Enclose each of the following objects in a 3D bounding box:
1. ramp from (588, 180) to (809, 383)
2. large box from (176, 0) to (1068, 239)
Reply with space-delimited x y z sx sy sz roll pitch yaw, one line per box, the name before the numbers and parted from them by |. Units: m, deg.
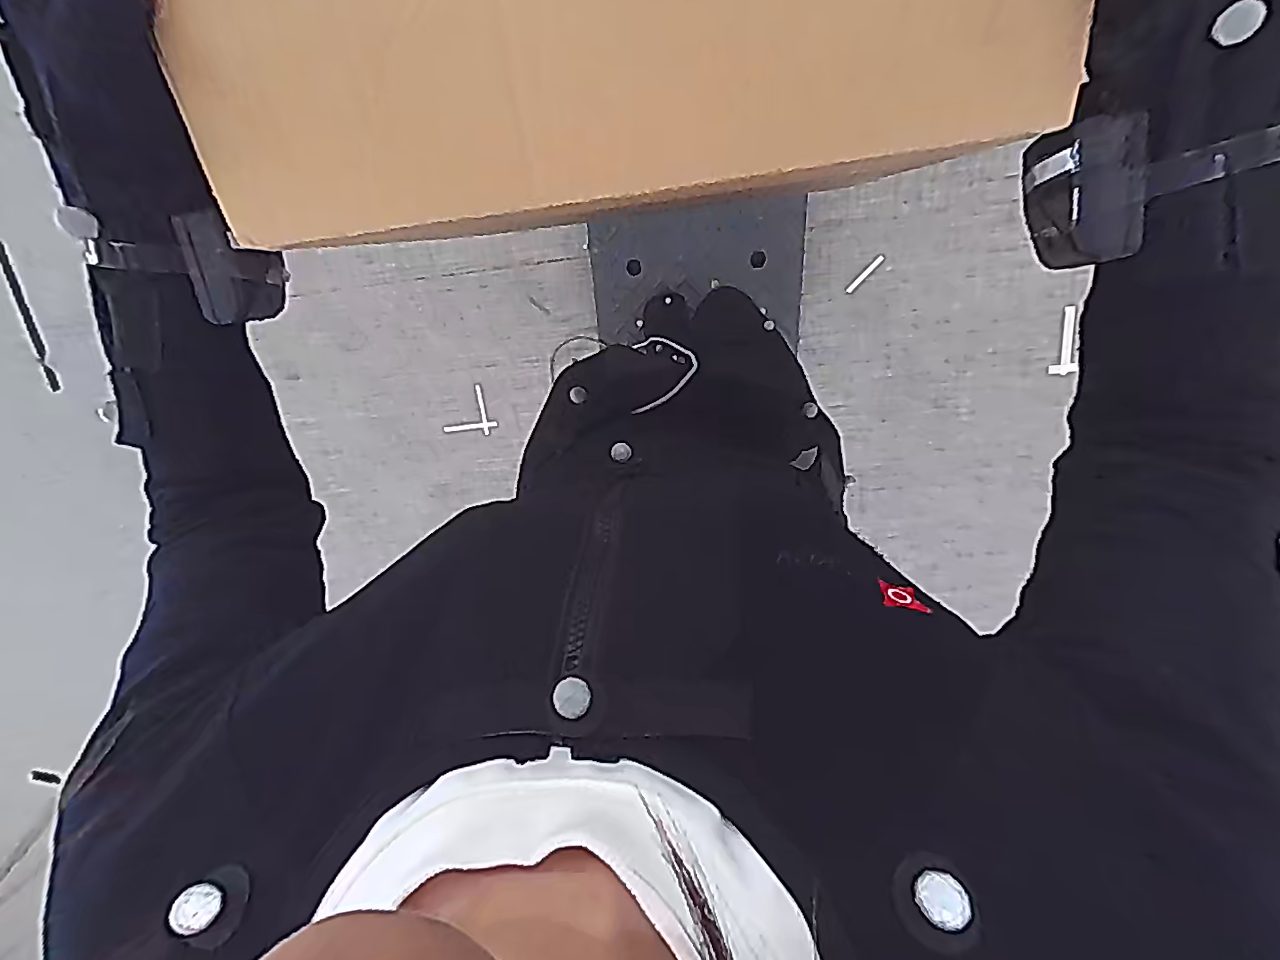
ramp | 0.117 -0.697 1.153 0.509 0.206 0.991 -3 109 6
large box | -0.018 -0.351 0.345 0.408 0.320 0.320 -5 115 7
